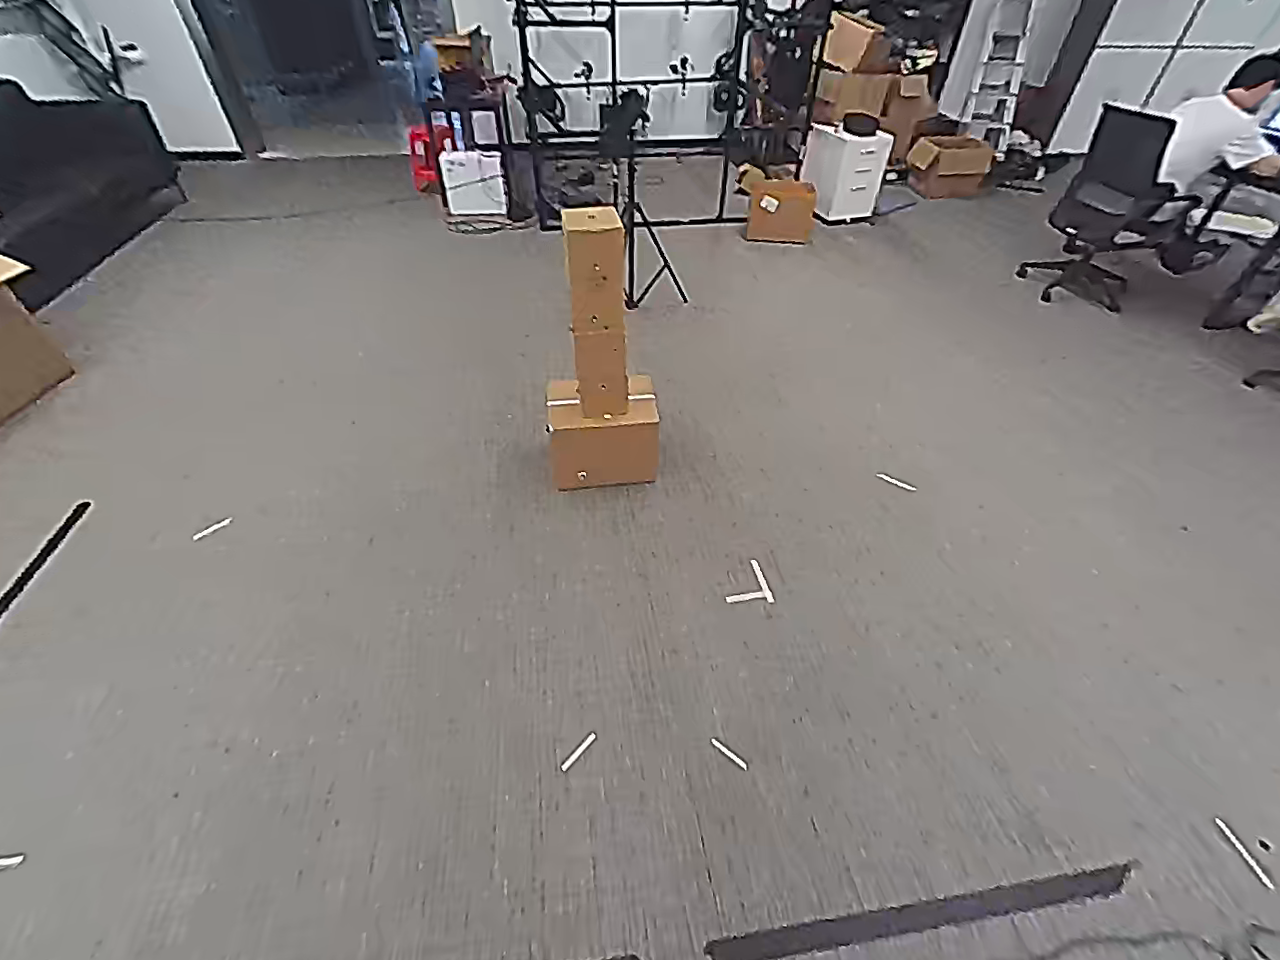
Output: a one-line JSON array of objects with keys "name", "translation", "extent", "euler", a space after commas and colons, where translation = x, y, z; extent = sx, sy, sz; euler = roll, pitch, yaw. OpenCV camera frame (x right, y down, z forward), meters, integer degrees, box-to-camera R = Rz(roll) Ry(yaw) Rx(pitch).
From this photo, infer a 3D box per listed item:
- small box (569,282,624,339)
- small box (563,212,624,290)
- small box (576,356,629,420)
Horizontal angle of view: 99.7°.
[{"name": "small box", "translation": [-0.144, -0.577, 1.761], "extent": [0.168, 0.176, 0.179], "euler": [-6, 45, -7]}, {"name": "small box", "translation": [-0.143, -0.697, 1.649], "extent": [0.168, 0.176, 0.179], "euler": [-7, 46, -8]}, {"name": "small box", "translation": [-0.137, -0.335, 1.982], "extent": [0.179, 0.176, 0.168], "euler": [-6, 45, -8]}]
